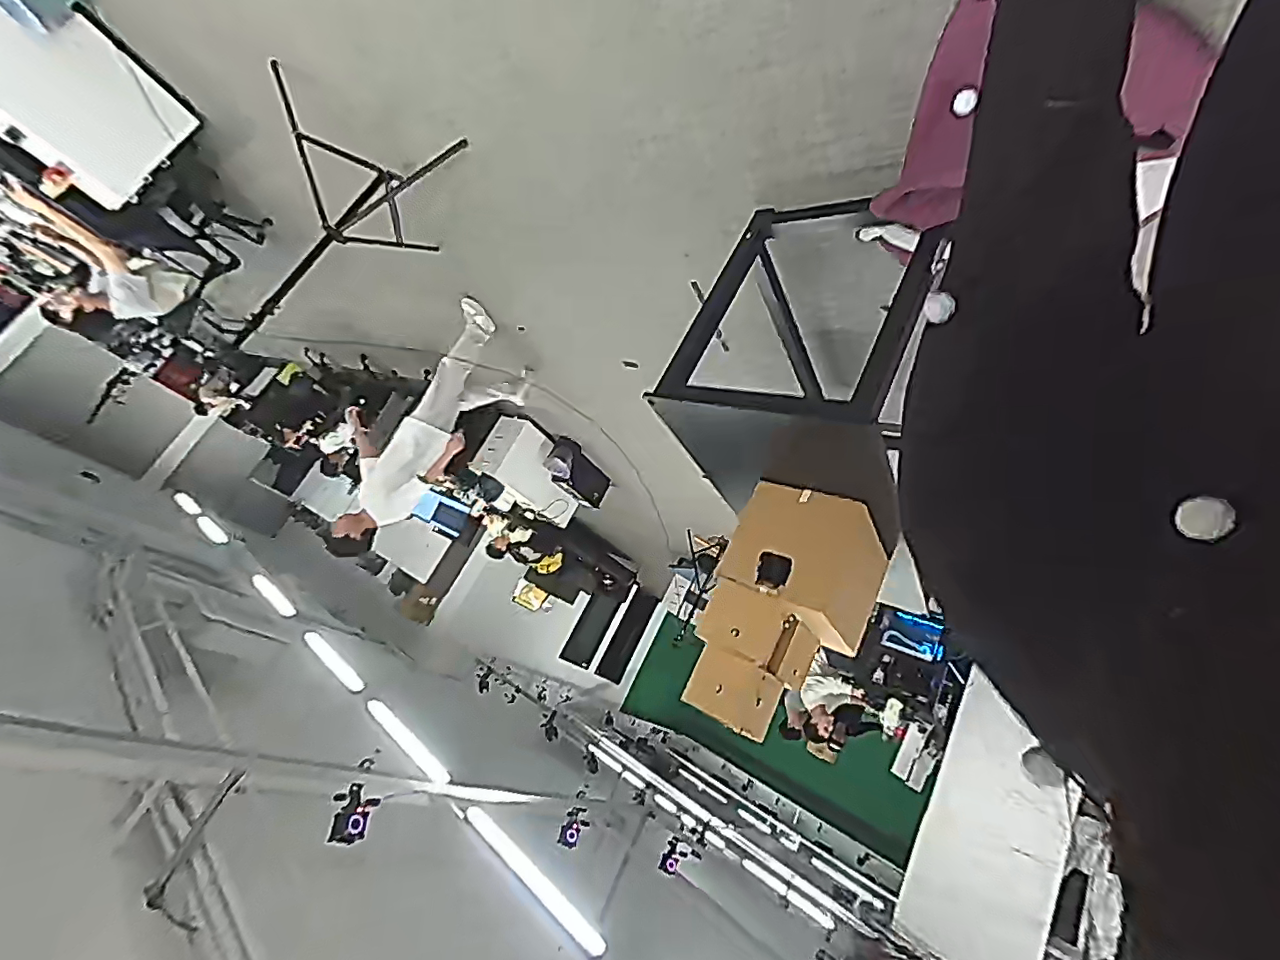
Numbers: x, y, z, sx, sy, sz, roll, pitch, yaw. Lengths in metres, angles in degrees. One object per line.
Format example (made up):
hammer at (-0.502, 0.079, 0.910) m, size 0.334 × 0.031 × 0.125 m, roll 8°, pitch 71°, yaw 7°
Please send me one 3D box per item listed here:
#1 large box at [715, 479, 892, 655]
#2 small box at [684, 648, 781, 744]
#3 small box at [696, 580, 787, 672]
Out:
large box at (0.485, 0.248, 1.554) m, size 0.320 × 0.320 × 0.408 m, roll 13°, pitch 157°, yaw 41°
small box at (0.256, 0.572, 1.453) m, size 0.168 × 0.176 × 0.179 m, roll 39°, pitch 160°, yaw -33°
small box at (0.279, 0.388, 1.440) m, size 0.179 × 0.176 × 0.168 m, roll 20°, pitch 162°, yaw 30°
